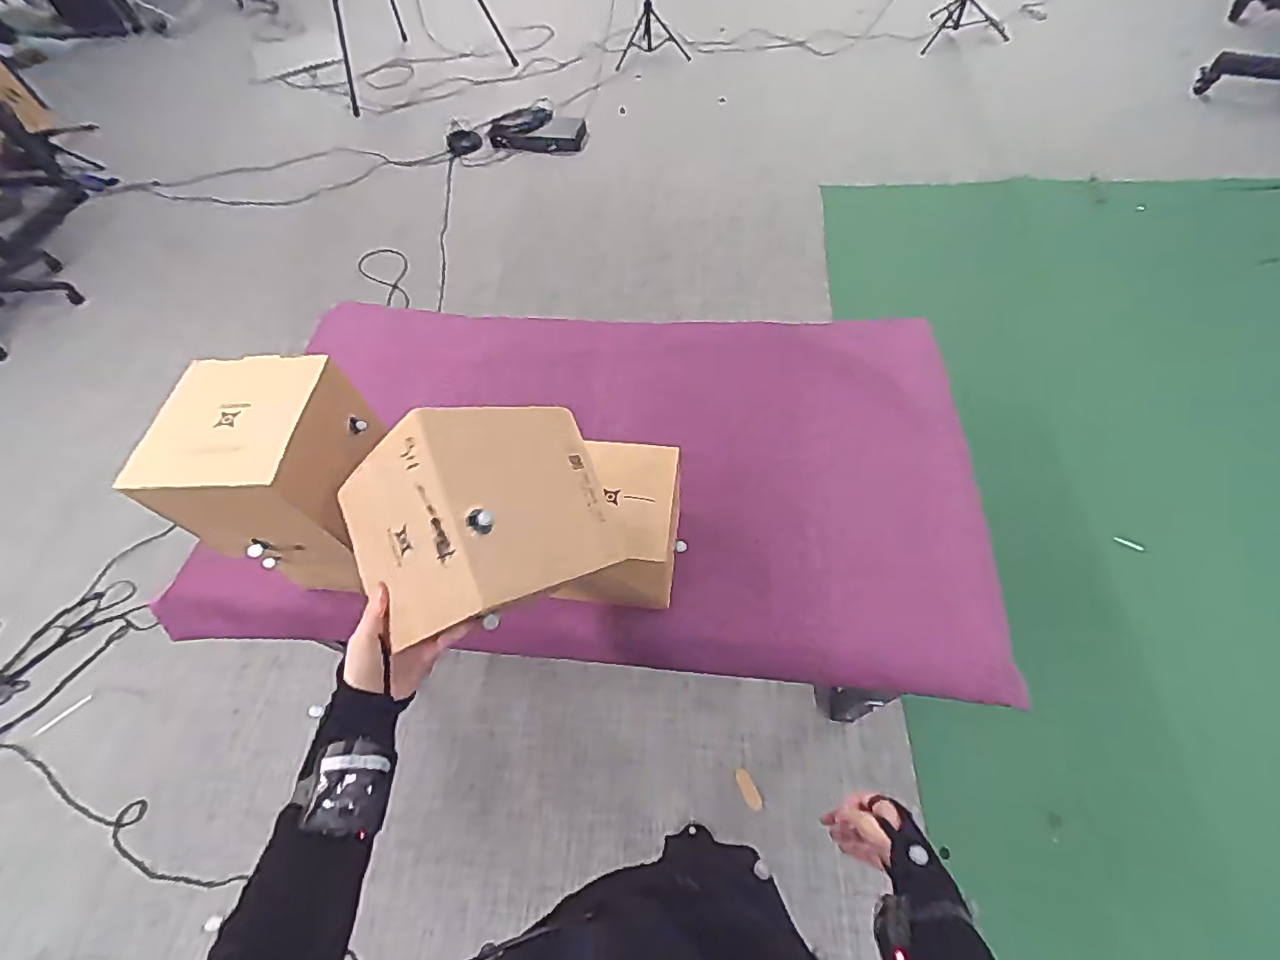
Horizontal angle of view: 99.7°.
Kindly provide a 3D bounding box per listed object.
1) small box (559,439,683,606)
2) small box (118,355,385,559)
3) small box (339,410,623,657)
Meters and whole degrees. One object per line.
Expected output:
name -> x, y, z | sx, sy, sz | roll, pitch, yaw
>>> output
small box -> -0.036, 0.062, 0.739 | 0.179, 0.176, 0.168 | 5, 58, 6
small box -> -0.418, -0.023, 0.629 | 0.168, 0.176, 0.179 | -1, 58, 4
small box -> -0.148, 0.045, 0.509 | 0.176, 0.179, 0.168 | -12, 76, -50
